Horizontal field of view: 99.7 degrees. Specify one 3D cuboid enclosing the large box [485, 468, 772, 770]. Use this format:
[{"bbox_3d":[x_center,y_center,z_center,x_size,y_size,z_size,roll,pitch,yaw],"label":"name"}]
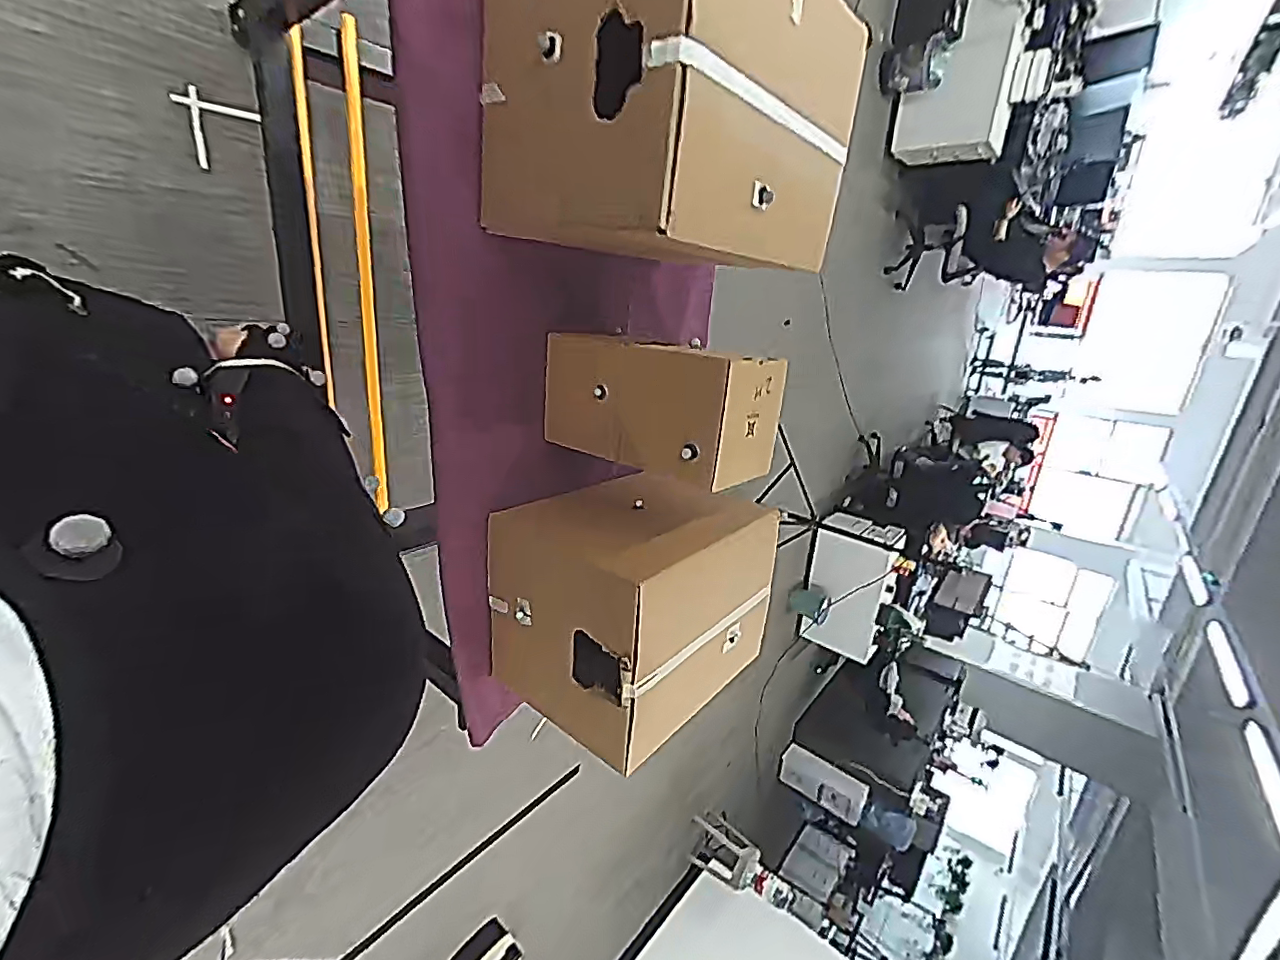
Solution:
[{"bbox_3d":[-0.012,0.191,0.947,0.408,0.320,0.320,-19,120,-50],"label":"large box"}]
